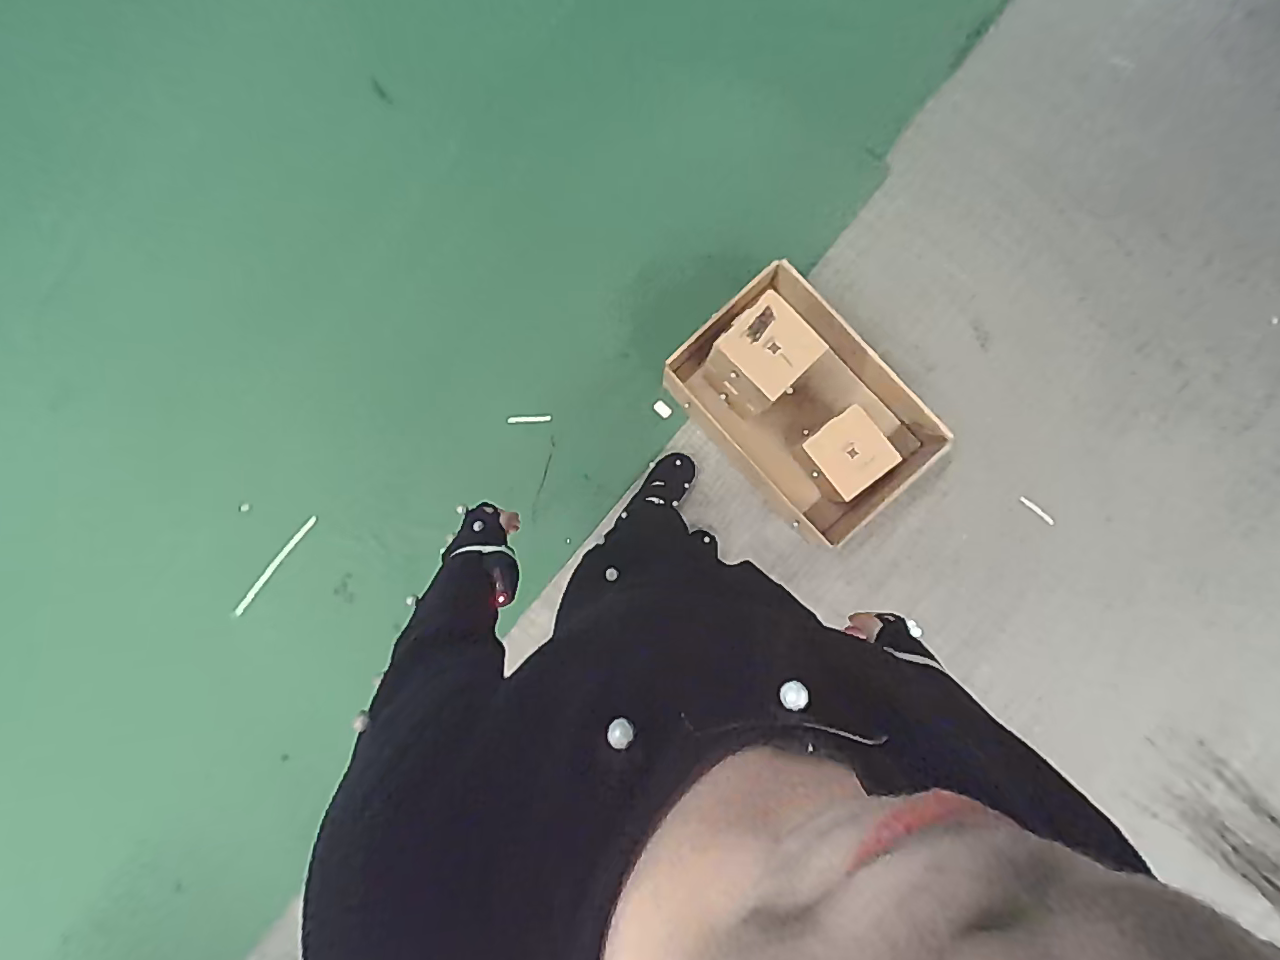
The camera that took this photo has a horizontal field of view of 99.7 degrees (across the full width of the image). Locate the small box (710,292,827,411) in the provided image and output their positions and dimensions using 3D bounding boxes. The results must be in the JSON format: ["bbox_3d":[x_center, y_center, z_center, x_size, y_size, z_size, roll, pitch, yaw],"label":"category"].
[{"bbox_3d":[0.273,-0.273,1.198,0.168,0.176,0.179,-44,88,1],"label":"small box"}]
